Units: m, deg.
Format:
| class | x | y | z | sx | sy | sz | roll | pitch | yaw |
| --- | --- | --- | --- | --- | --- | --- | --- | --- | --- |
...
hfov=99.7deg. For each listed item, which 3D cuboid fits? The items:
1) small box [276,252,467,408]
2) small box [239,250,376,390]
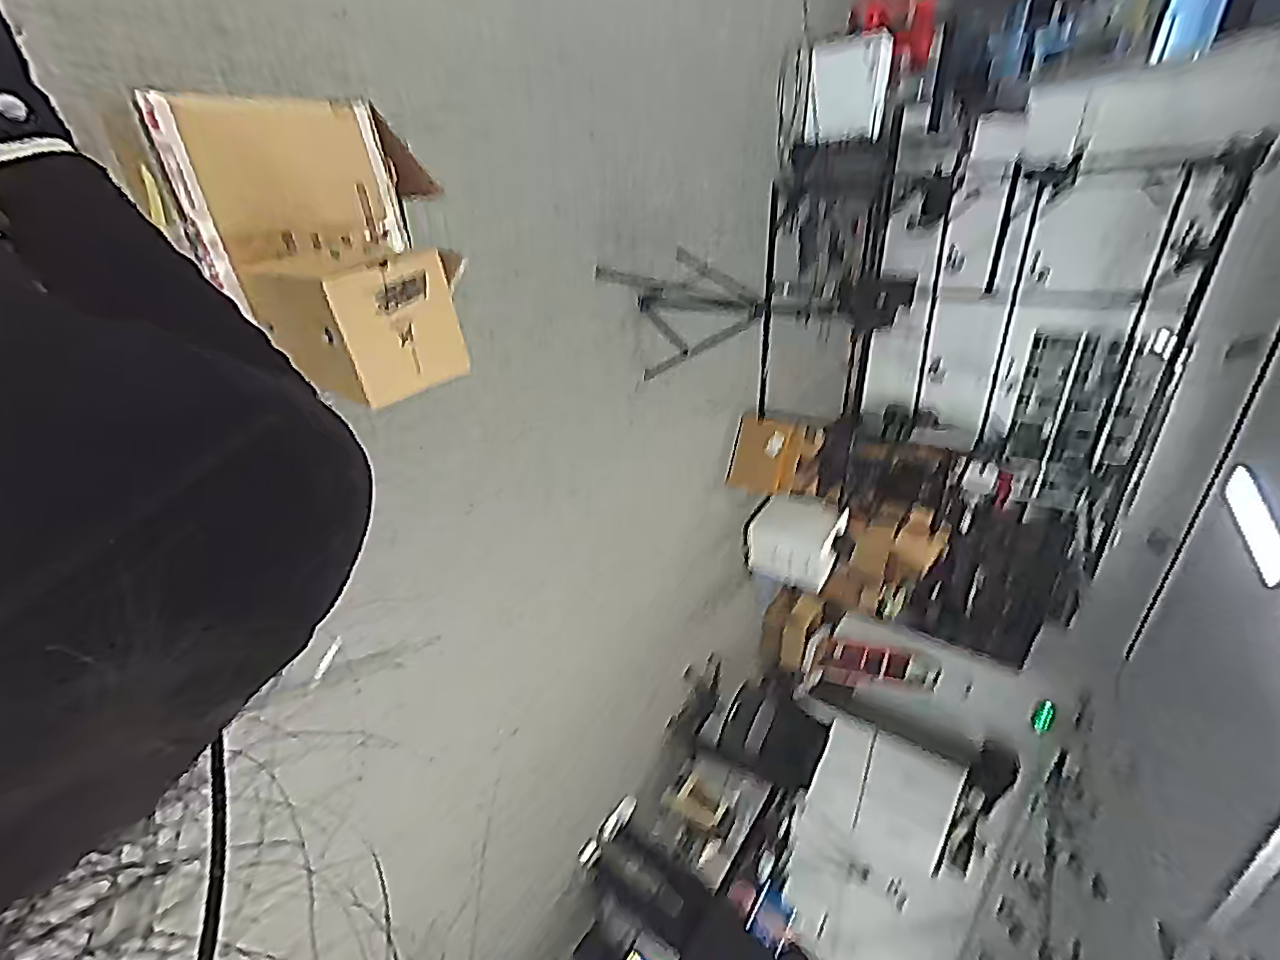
| class | x | y | z | sx | sy | sz | roll | pitch | yaw |
| --- | --- | --- | --- | --- | --- | --- | --- | --- | --- |
| small box | -0.390 | -0.227 | 0.793 | 0.168 | 0.176 | 0.179 | -36 | 132 | -38 |
| small box | -0.514 | -0.272 | 0.894 | 0.168 | 0.176 | 0.179 | -36 | 132 | -38 |
